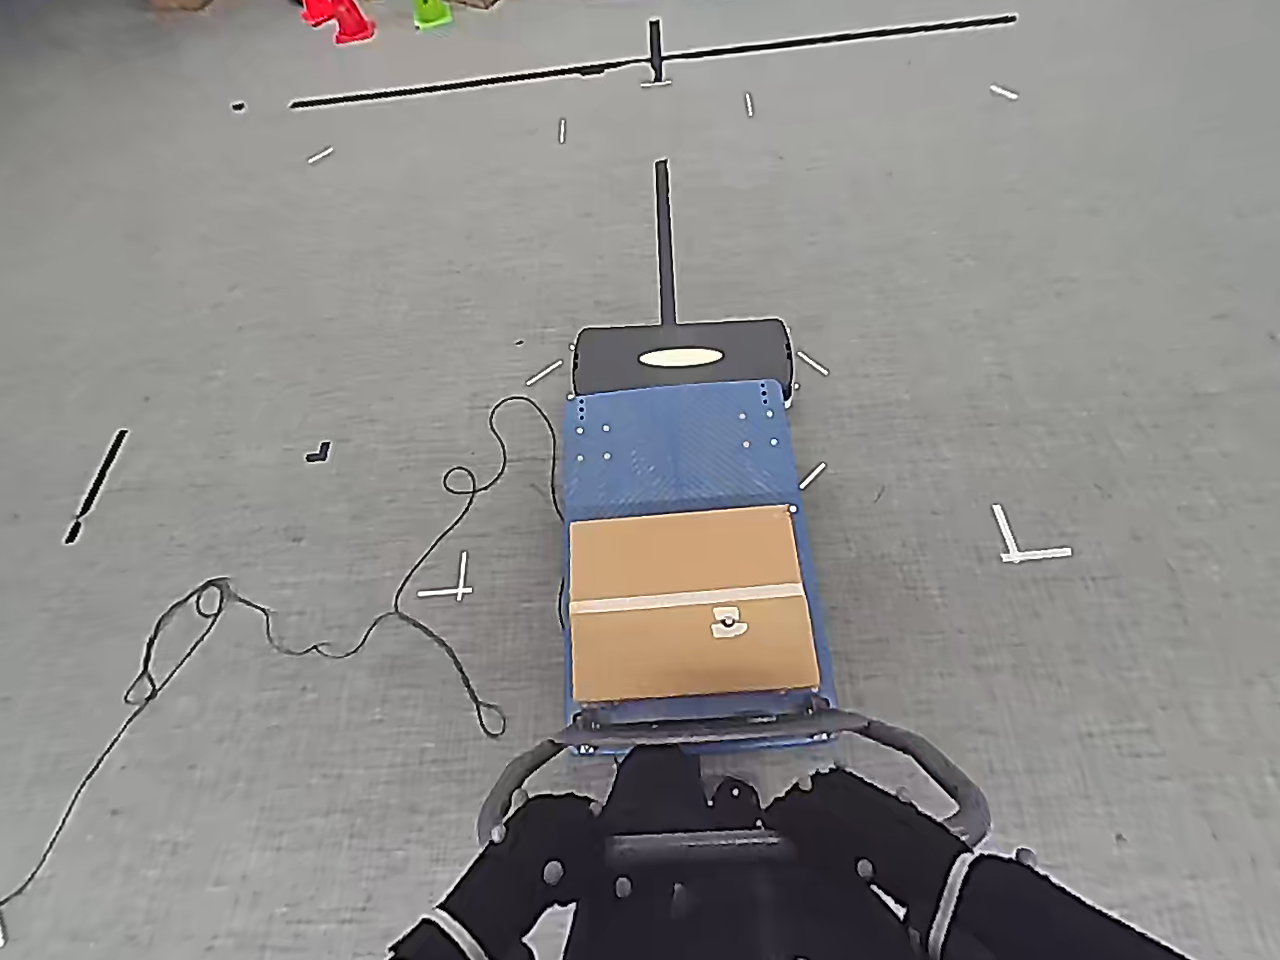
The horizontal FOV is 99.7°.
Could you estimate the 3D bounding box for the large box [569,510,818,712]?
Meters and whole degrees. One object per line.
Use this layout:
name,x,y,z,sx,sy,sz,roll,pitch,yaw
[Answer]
large box,0.087,0.272,1.066,0.408,0.320,0.320,-5,68,2
